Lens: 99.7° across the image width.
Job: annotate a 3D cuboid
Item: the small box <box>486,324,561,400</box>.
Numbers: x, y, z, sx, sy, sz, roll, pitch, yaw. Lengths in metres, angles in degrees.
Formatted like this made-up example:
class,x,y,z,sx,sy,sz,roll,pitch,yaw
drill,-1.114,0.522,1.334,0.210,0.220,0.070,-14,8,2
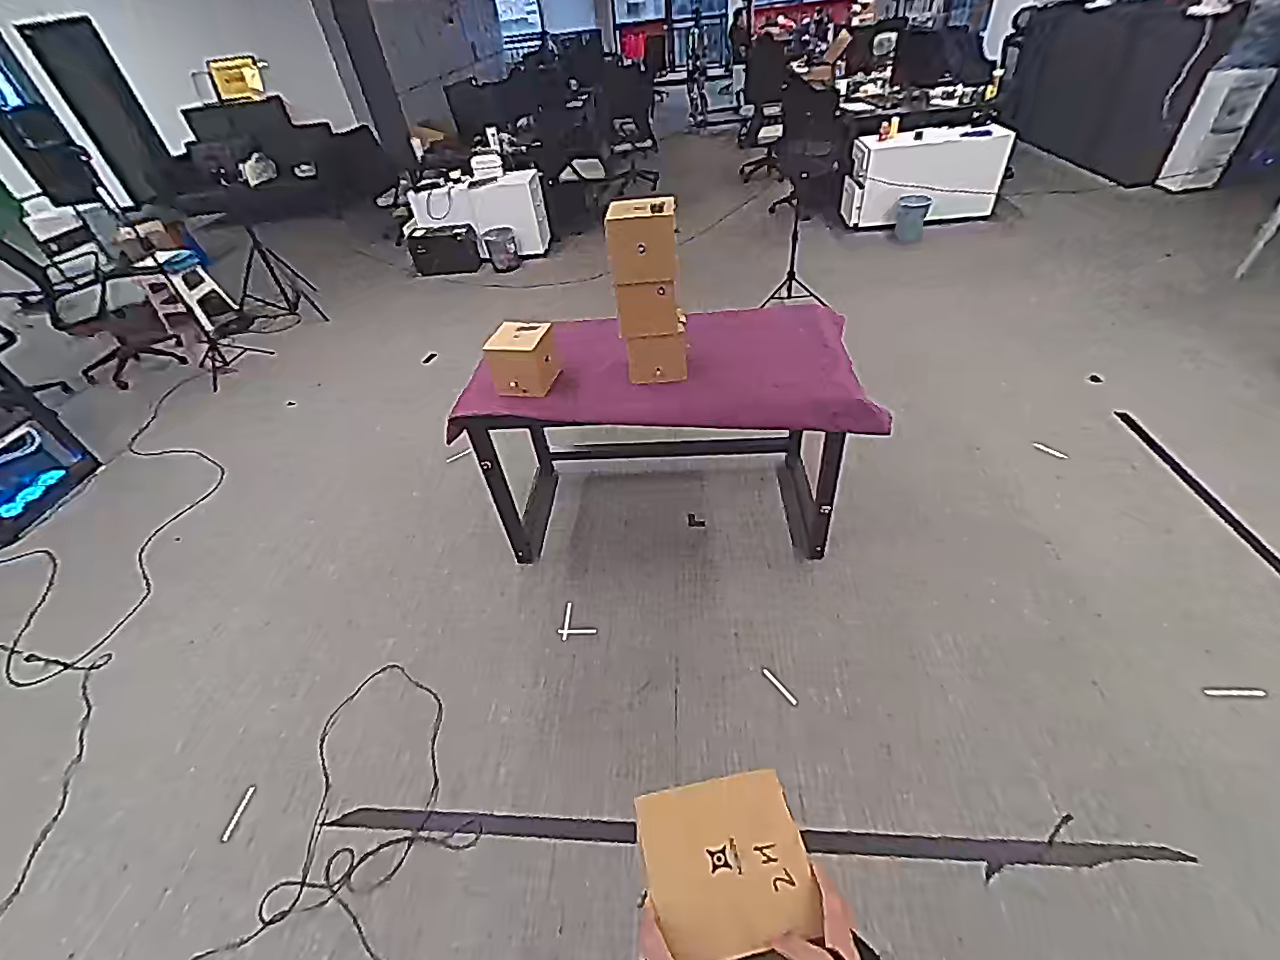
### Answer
class,x,y,z,sx,sy,sz,roll,pitch,yaw
small box,-0.358,-0.374,1.707,0.168,0.176,0.179,5,44,13

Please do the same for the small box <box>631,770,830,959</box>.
class,x,y,z,sx,sy,sz,roll,pitch,yaw
small box,0.092,0.473,0.627,0.179,0.176,0.168,-7,37,-8

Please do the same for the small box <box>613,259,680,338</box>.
class,x,y,z,sx,sy,sz,roll,pitch,yaw
small box,0.023,-0.525,1.575,0.179,0.176,0.168,-3,41,4

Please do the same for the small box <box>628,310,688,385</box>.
class,x,y,z,sx,sy,sz,roll,pitch,yaw
small box,0.059,-0.411,1.689,0.179,0.176,0.168,-3,41,4
